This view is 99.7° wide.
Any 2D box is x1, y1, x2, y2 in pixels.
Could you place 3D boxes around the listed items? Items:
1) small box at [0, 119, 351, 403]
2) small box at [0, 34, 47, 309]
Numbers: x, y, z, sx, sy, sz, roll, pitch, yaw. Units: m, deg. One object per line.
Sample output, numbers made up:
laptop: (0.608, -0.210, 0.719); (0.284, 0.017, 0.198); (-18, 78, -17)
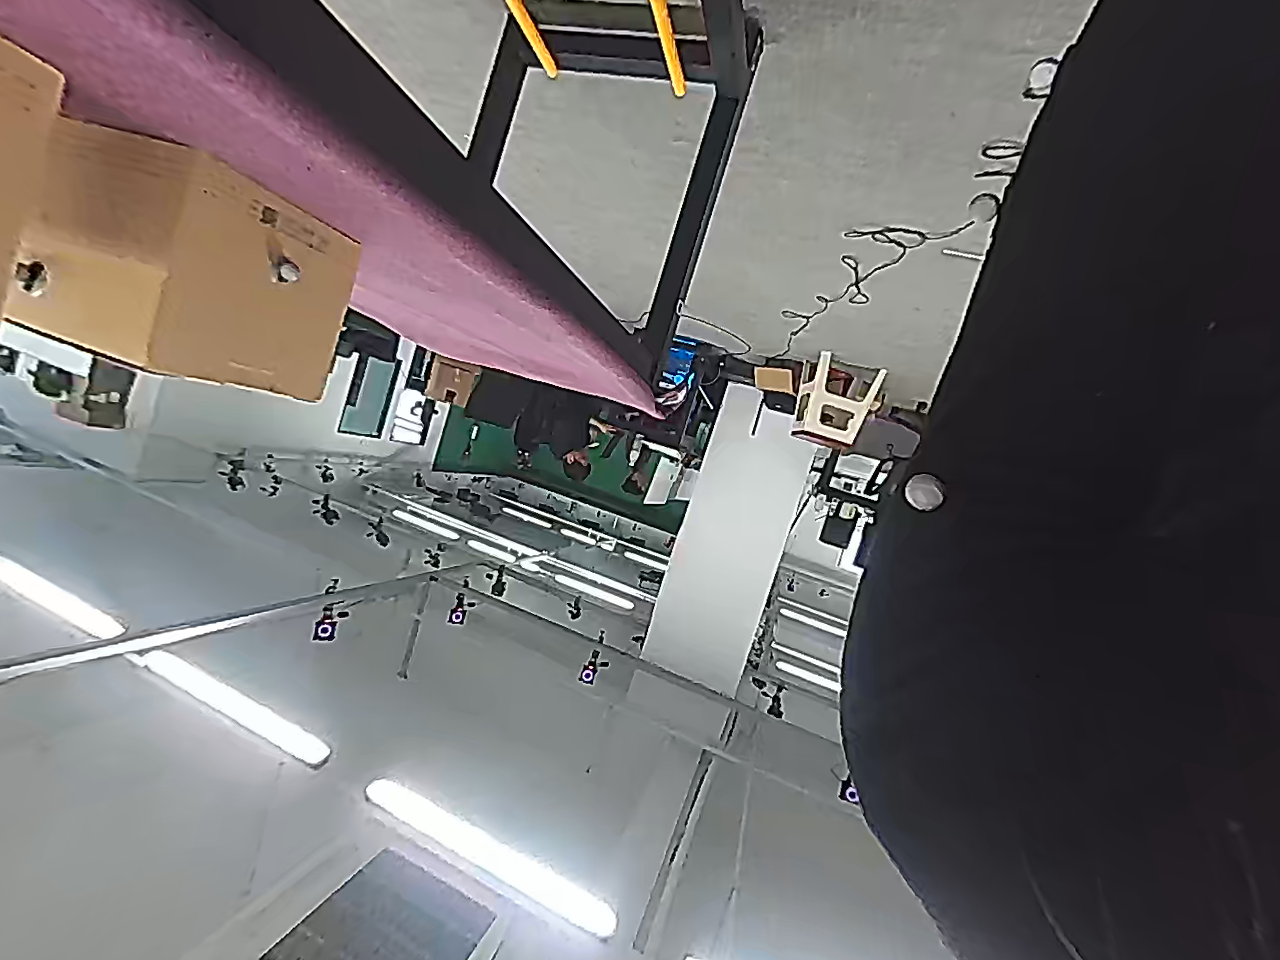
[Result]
small box: (-0.400, -0.184, 0.485); (0.179, 0.176, 0.168); (18, -176, 12)
small box: (-0.455, -0.188, 0.251); (0.168, 0.176, 0.179); (19, -176, 10)
